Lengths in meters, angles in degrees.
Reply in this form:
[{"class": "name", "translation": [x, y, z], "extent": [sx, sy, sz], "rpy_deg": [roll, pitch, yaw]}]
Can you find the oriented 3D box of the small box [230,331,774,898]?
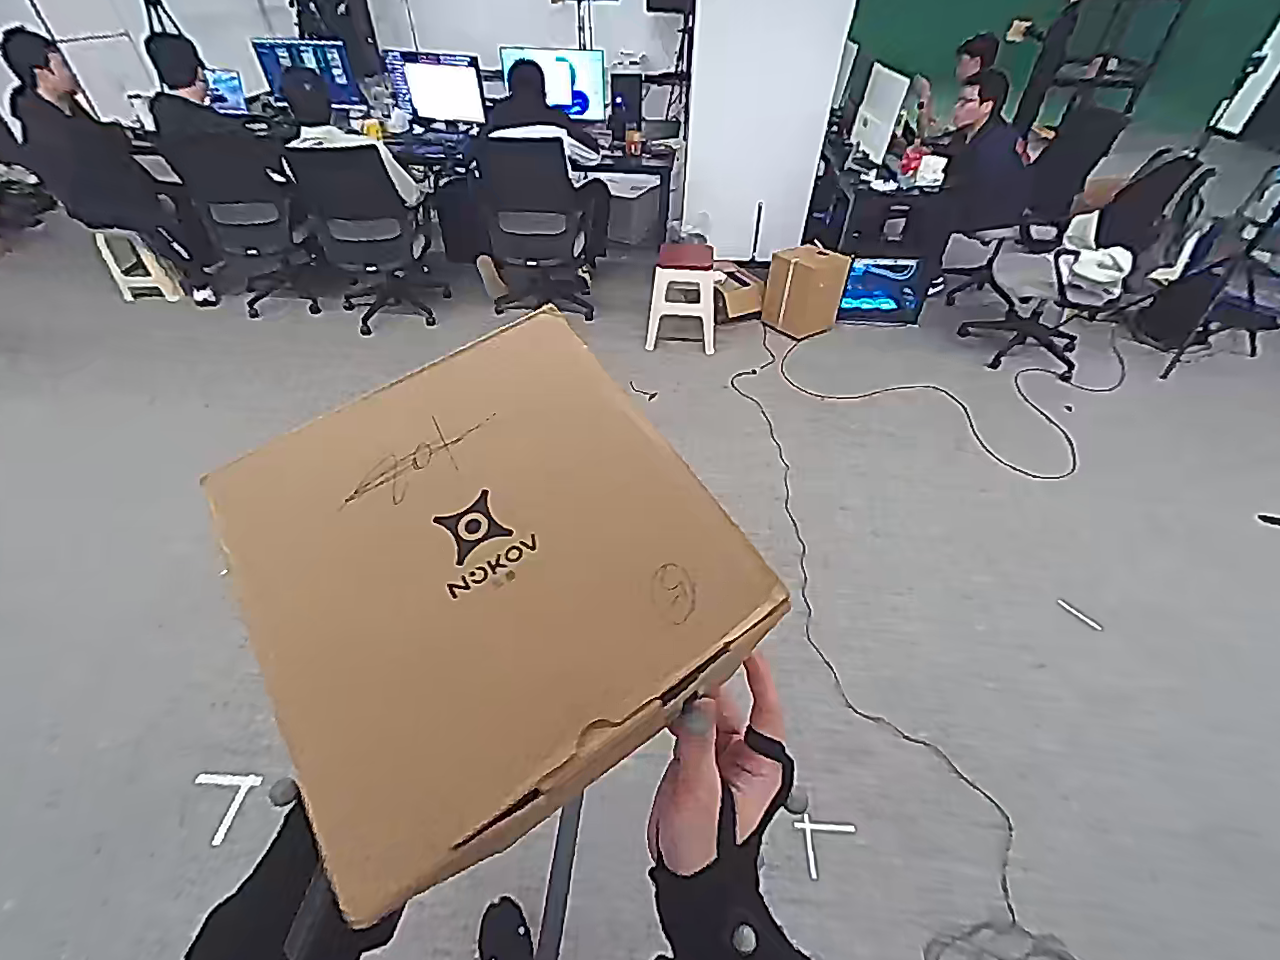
[{"class": "small box", "translation": [-0.060, 0.064, 0.289], "extent": [0.168, 0.176, 0.179], "rpy_deg": [-32, 66, -16]}]
